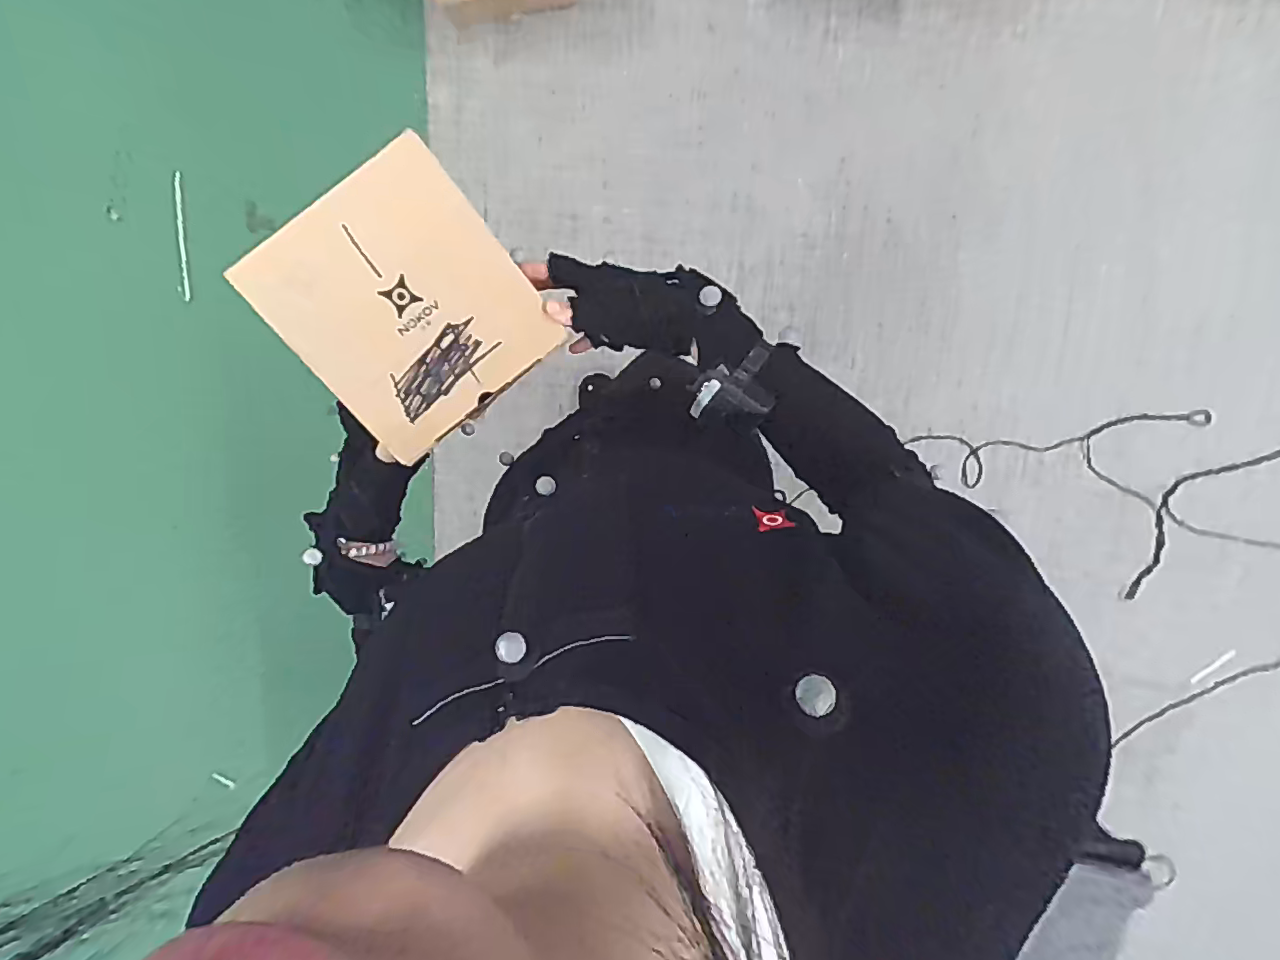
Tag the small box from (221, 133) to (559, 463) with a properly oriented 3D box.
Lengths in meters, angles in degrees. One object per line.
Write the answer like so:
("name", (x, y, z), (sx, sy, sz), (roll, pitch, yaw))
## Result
("small box", (-0.187, -0.143, 0.469), (0.168, 0.176, 0.179), (-38, 105, -1))
